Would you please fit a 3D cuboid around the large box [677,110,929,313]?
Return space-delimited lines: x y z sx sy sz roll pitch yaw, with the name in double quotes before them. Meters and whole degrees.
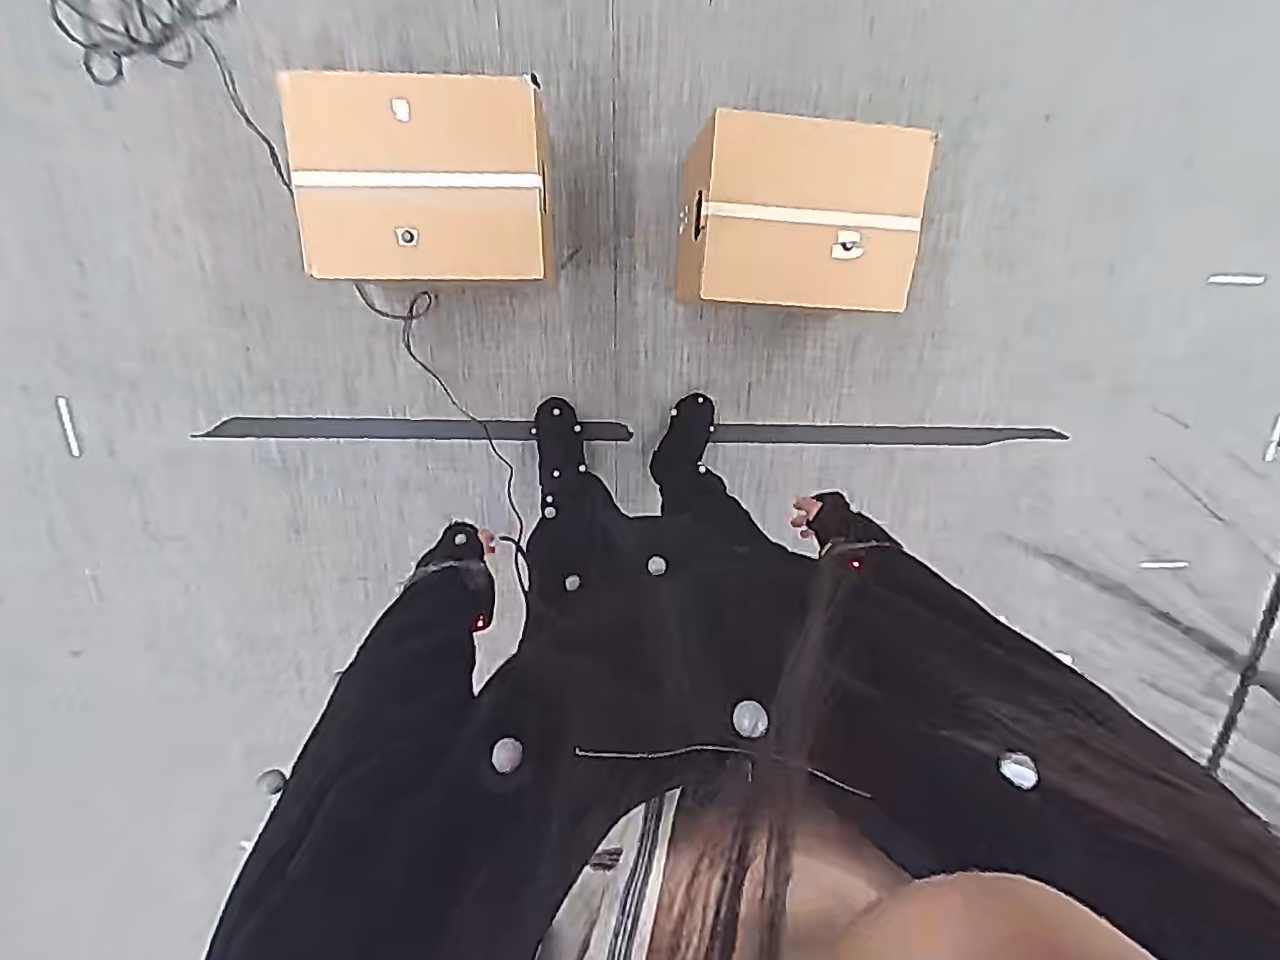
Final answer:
"large box" 0.304 -0.526 1.136 0.408 0.320 0.320 2 106 -7
